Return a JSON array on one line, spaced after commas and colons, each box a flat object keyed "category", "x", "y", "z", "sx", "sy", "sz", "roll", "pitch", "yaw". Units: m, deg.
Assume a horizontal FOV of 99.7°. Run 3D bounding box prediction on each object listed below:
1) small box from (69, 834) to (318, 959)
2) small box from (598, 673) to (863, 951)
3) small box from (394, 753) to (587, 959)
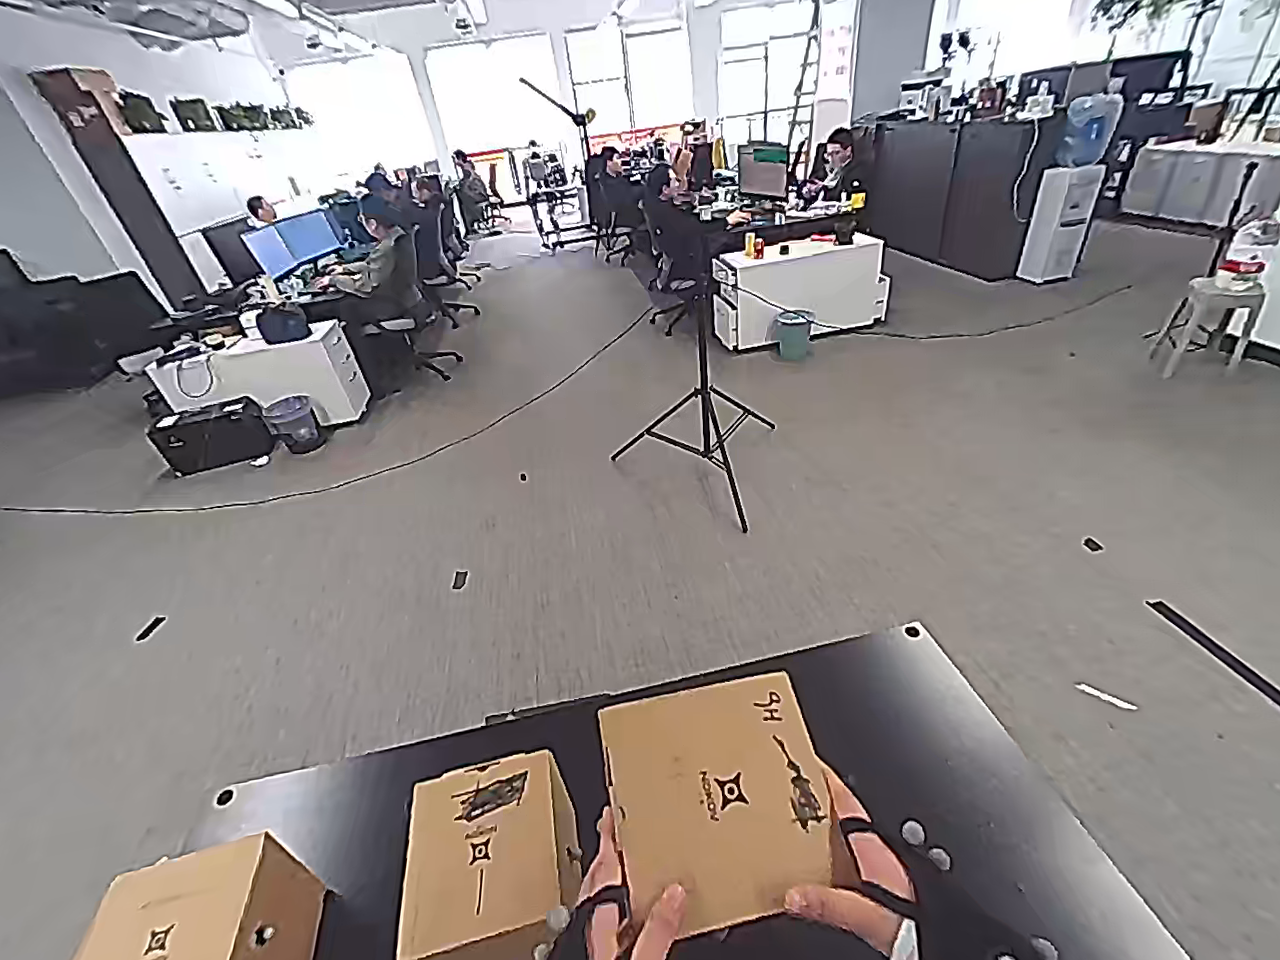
[{"category": "small box", "x": -0.484, "y": 0.539, "z": 0.591, "sx": 0.168, "sy": 0.176, "sz": 0.179, "roll": -13, "pitch": 34, "yaw": -9}, {"category": "small box", "x": 0.062, "y": 0.294, "z": 0.488, "sx": 0.179, "sy": 0.176, "sz": 0.168, "roll": -8, "pitch": 56, "yaw": -7}, {"category": "small box", "x": -0.163, "y": 0.463, "z": 0.634, "sx": 0.168, "sy": 0.176, "sz": 0.179, "roll": -12, "pitch": 36, "yaw": -6}]
